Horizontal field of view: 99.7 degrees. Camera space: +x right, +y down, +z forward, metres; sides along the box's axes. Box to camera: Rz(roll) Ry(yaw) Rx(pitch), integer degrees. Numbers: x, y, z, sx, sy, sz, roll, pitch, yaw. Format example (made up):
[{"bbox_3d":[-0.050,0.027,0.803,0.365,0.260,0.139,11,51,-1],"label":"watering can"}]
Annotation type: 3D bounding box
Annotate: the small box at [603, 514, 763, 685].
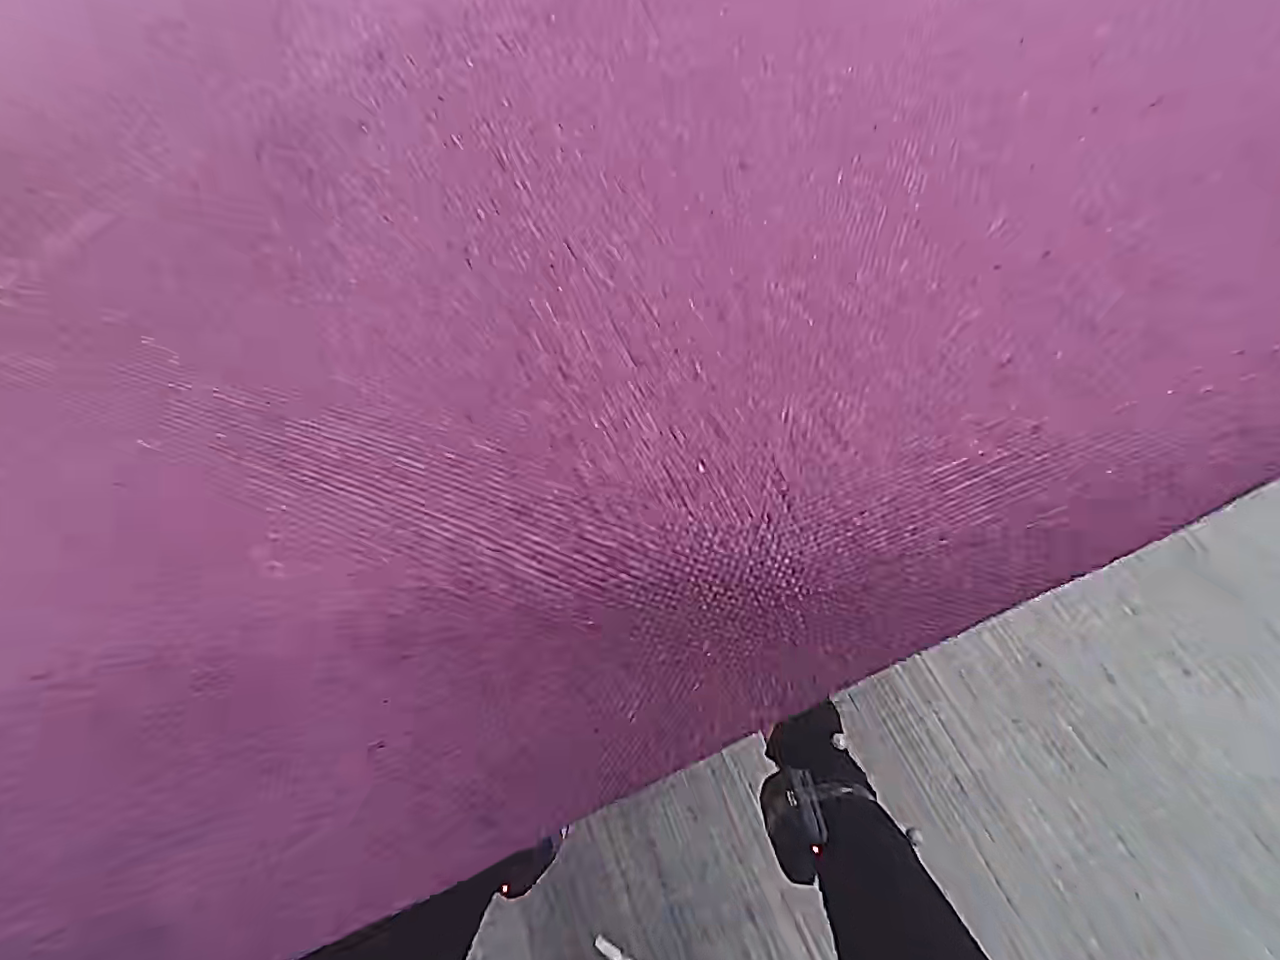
[{"bbox_3d":[0.060,0.174,0.744,0.168,0.176,0.179,-17,63,0],"label":"small box"}]
